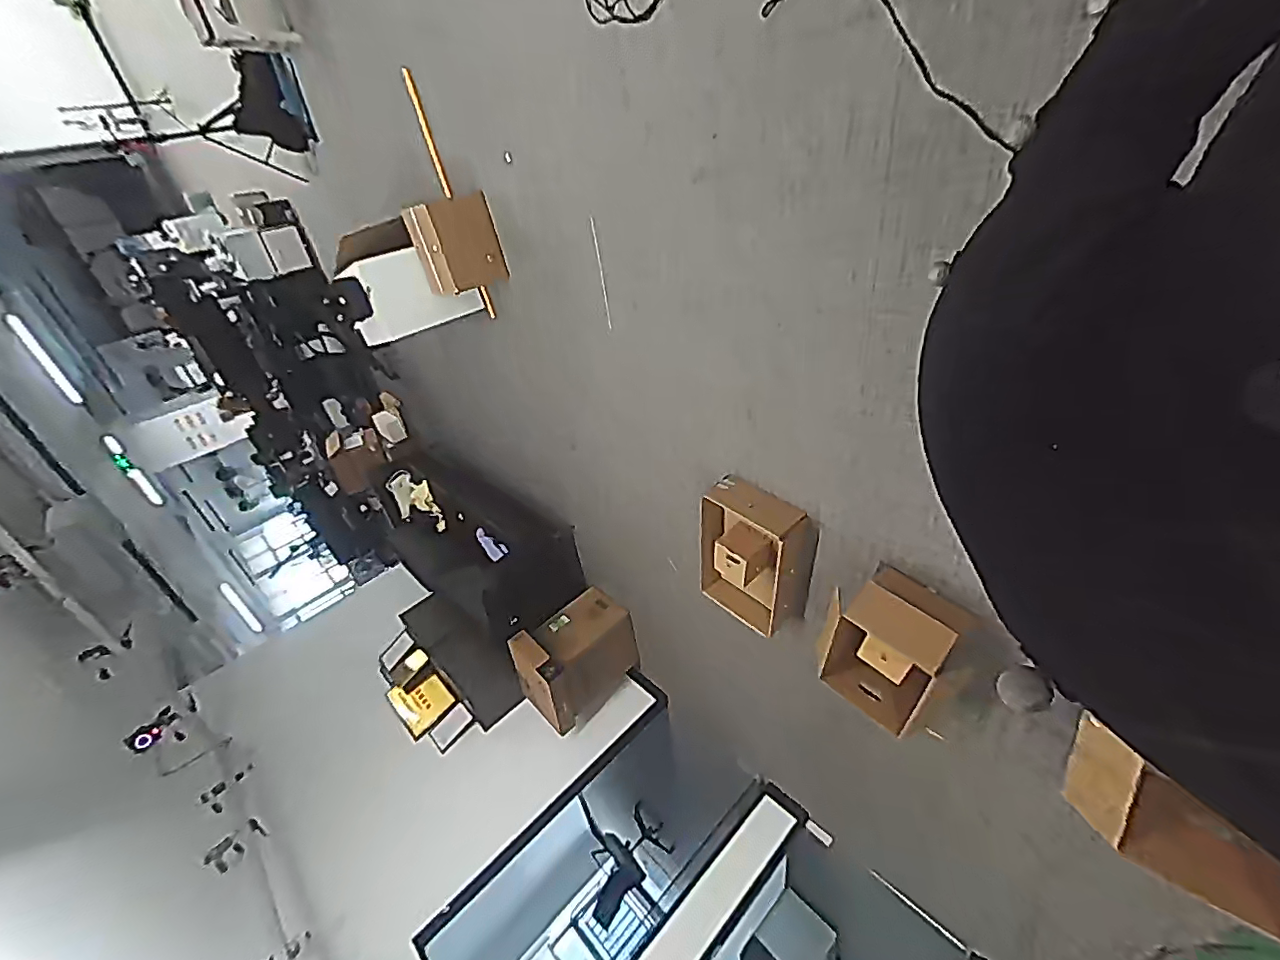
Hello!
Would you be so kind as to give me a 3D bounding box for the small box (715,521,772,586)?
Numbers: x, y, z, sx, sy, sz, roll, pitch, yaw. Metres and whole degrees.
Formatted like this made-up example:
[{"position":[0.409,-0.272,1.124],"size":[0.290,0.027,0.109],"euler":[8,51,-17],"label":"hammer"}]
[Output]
[{"position":[0.437,0.303,2.279],"size":[0.168,0.176,0.179],"euler":[34,144,35],"label":"small box"}]
